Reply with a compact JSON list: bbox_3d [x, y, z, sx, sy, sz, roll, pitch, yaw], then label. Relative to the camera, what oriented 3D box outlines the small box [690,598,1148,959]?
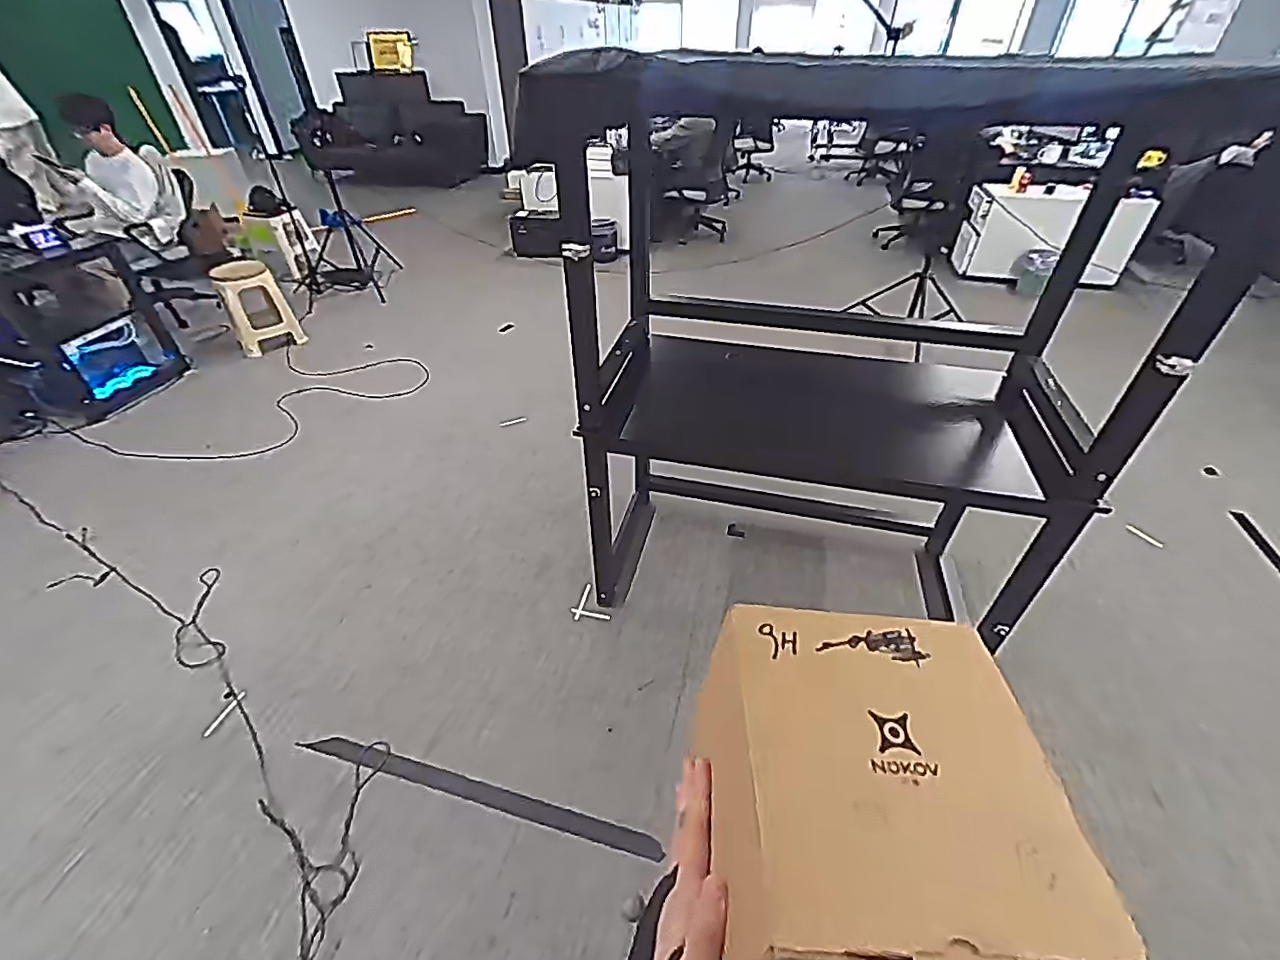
[{"bbox_3d":[0.126,0.199,0.335,0.168,0.176,0.179,6,41,-3],"label":"small box"}]
